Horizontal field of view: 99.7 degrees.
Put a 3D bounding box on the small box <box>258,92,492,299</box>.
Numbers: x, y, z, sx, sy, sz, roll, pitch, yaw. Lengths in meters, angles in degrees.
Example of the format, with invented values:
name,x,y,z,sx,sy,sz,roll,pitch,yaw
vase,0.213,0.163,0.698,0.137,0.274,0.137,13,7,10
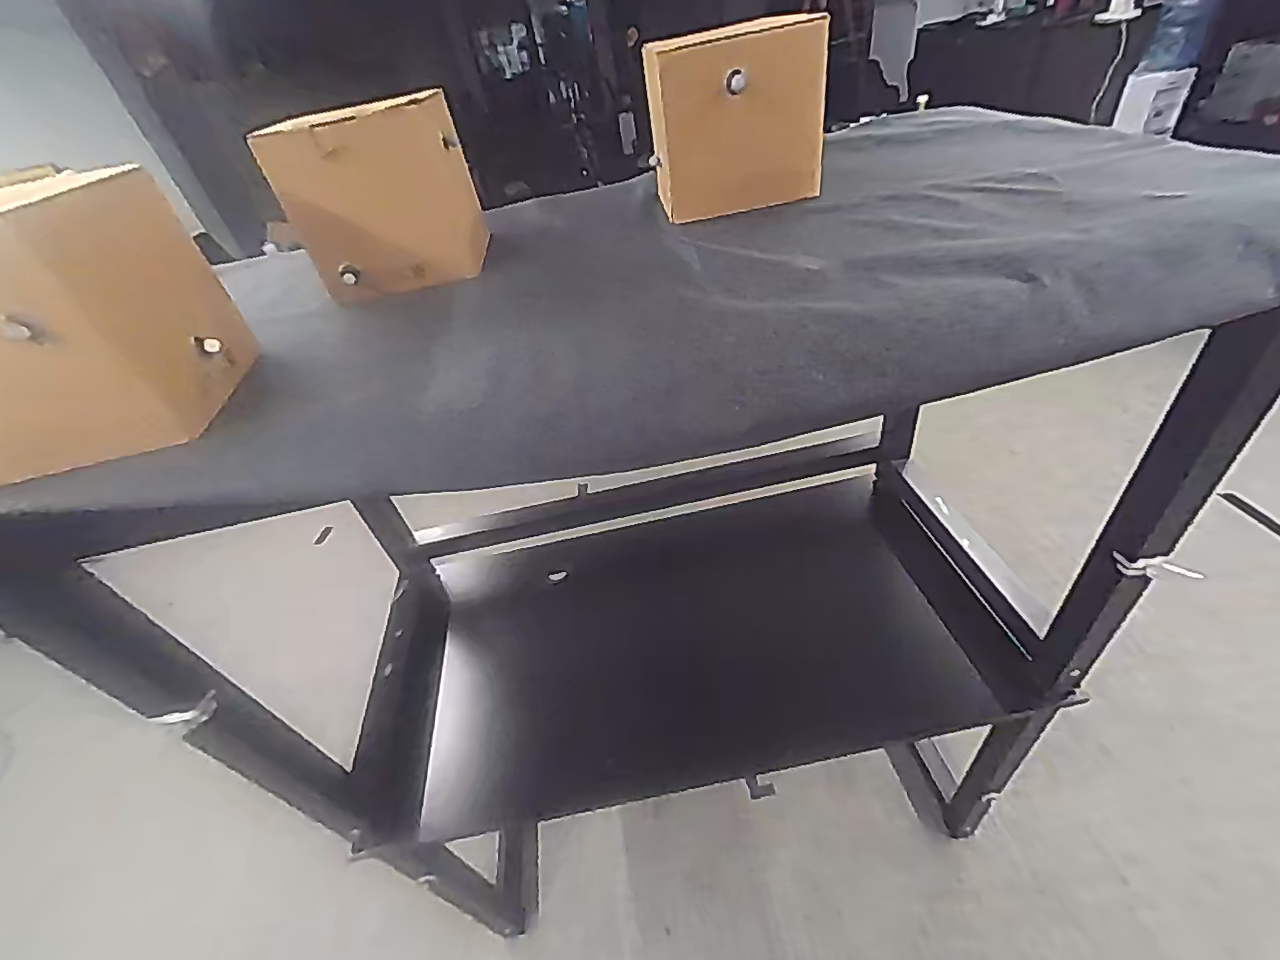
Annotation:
name,x,y,z,sx,sy,sz,roll,pitch,yaw
small box,-0.280,-0.323,0.623,0.168,0.176,0.179,-12,39,0

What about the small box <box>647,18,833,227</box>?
name,x,y,z,sx,sy,sz,roll,pitch,yaw
small box,0.112,-0.424,0.644,0.179,0.176,0.168,-11,40,3
